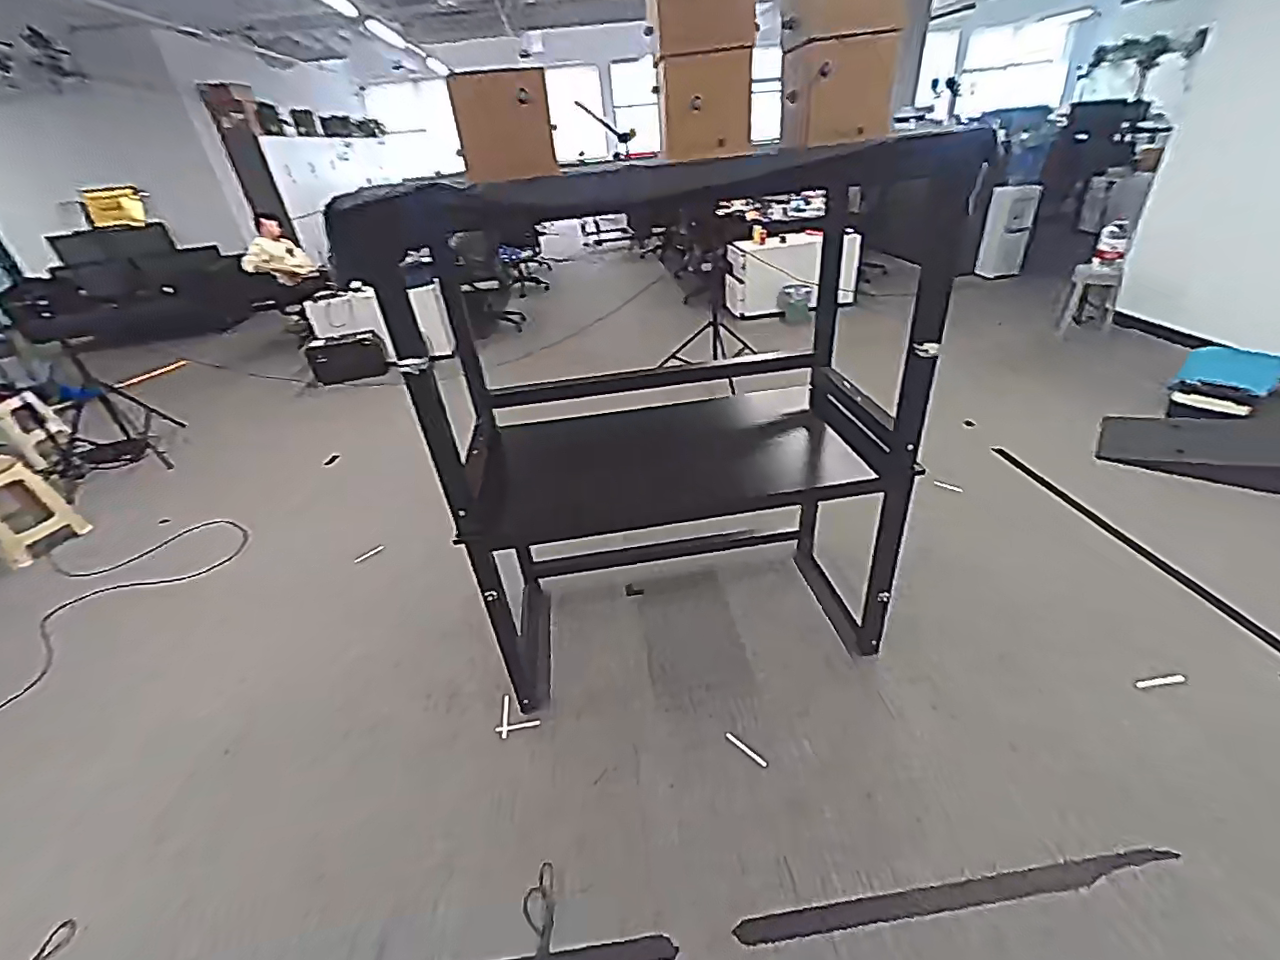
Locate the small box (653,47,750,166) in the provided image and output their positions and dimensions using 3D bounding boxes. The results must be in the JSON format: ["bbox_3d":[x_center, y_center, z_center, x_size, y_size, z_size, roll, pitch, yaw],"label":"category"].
[{"bbox_3d":[0.120,-0.727,1.068,0.168,0.176,0.179,-7,31,-1],"label":"small box"}]

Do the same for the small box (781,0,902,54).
[{"bbox_3d":[0.362,-0.892,0.975,0.179,0.176,0.168,-9,30,-2],"label":"small box"}]

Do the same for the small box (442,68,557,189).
[{"bbox_3d":[-0.256,-0.660,1.025,0.179,0.176,0.168,-11,31,-7],"label":"small box"}]

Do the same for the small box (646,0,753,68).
[{"bbox_3d":[0.103,-0.861,0.974,0.179,0.176,0.168,-8,30,0],"label":"small box"}]
